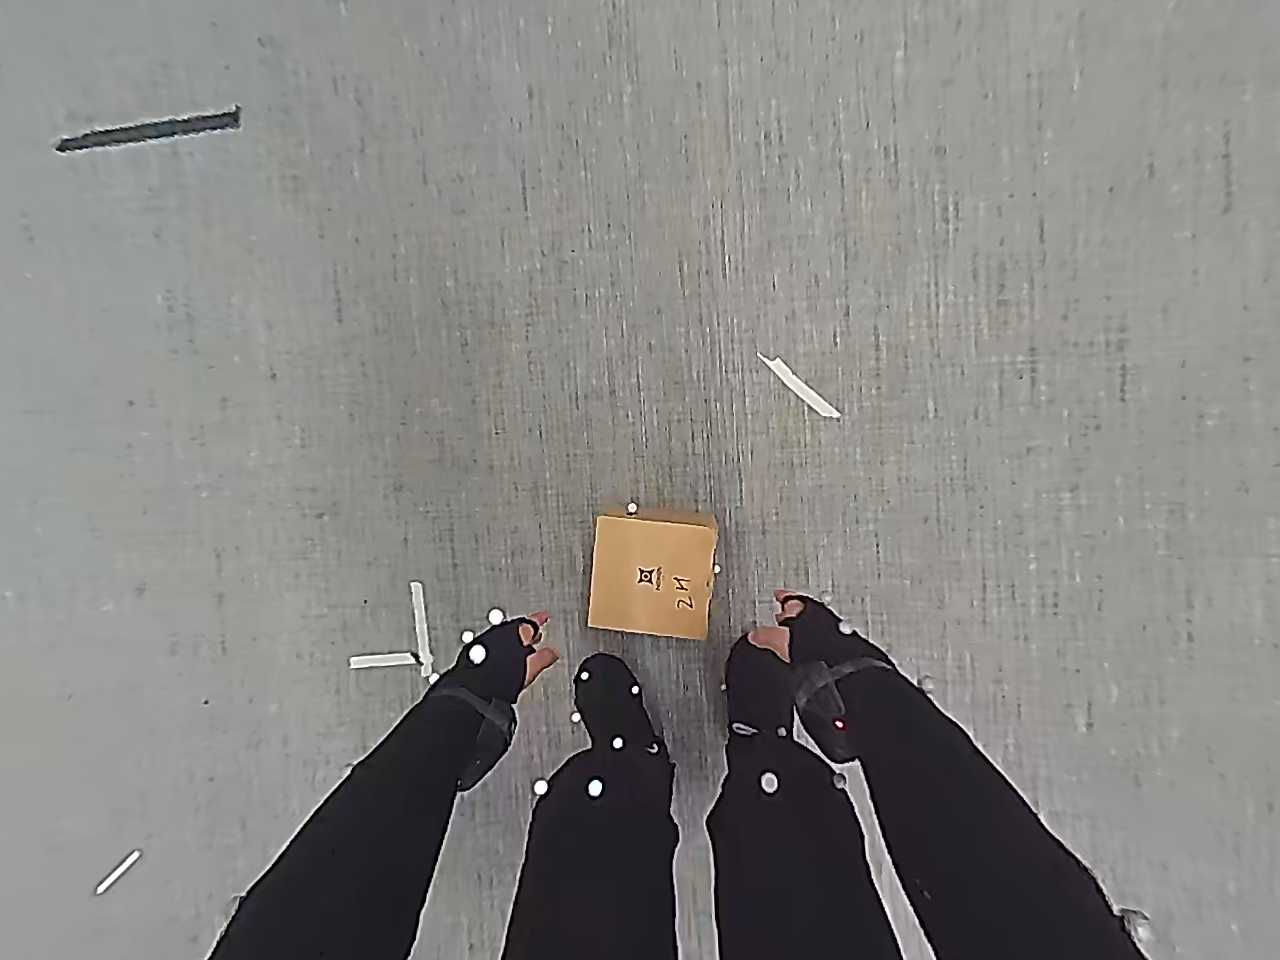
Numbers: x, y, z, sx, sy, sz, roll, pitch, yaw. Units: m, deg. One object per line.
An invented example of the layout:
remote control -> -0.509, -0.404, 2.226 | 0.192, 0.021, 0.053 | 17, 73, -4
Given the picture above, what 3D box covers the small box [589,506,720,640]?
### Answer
small box -> 0.027, 0.134, 0.848 | 0.179, 0.176, 0.168 | 6, 94, 5
